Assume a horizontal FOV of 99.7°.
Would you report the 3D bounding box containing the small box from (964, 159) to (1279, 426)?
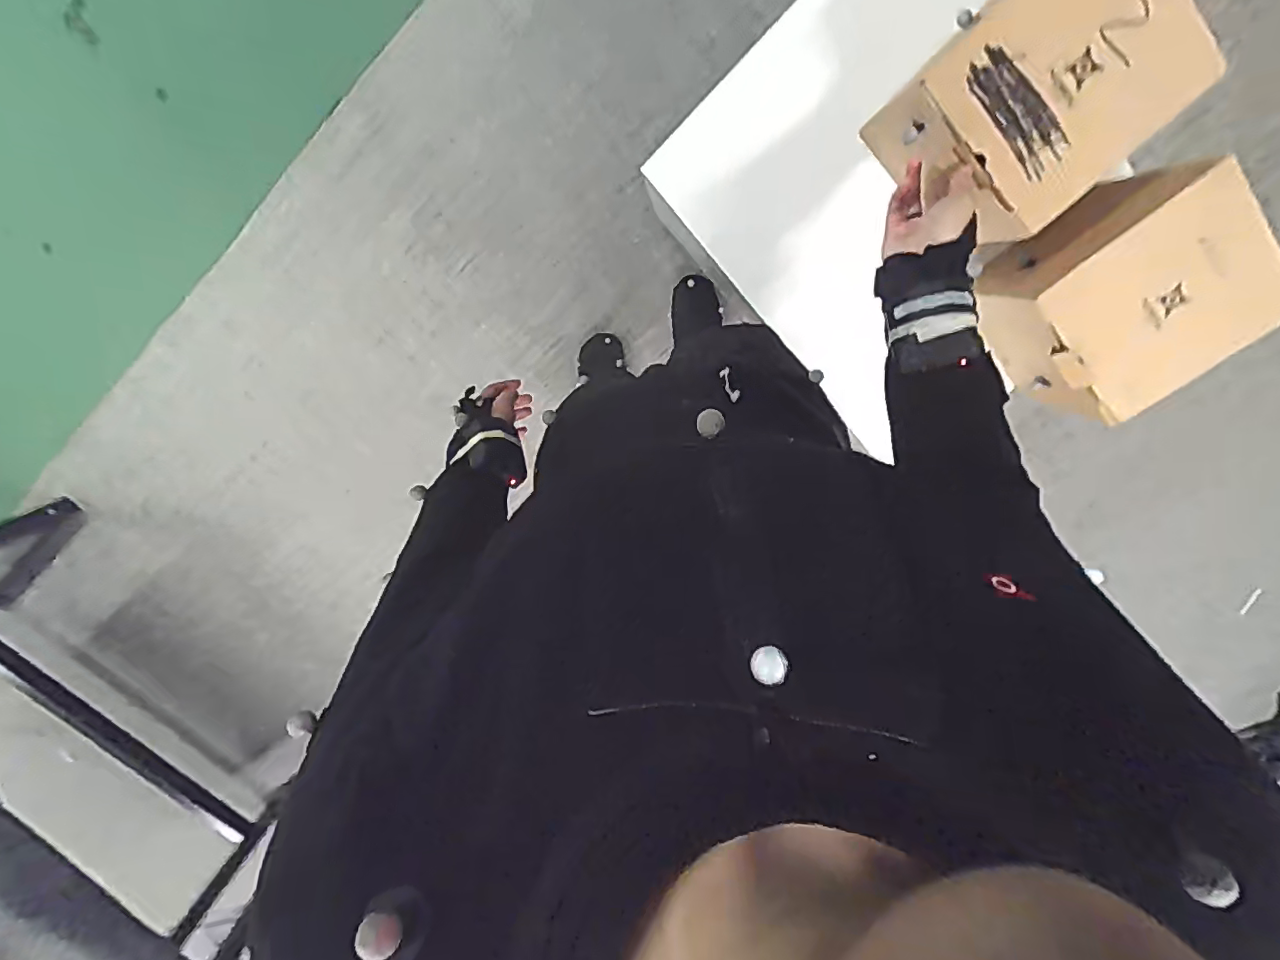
[{"bbox_3d":[0.481,-0.189,0.567,0.179,0.176,0.168,-40,105,16],"label":"small box"}]
